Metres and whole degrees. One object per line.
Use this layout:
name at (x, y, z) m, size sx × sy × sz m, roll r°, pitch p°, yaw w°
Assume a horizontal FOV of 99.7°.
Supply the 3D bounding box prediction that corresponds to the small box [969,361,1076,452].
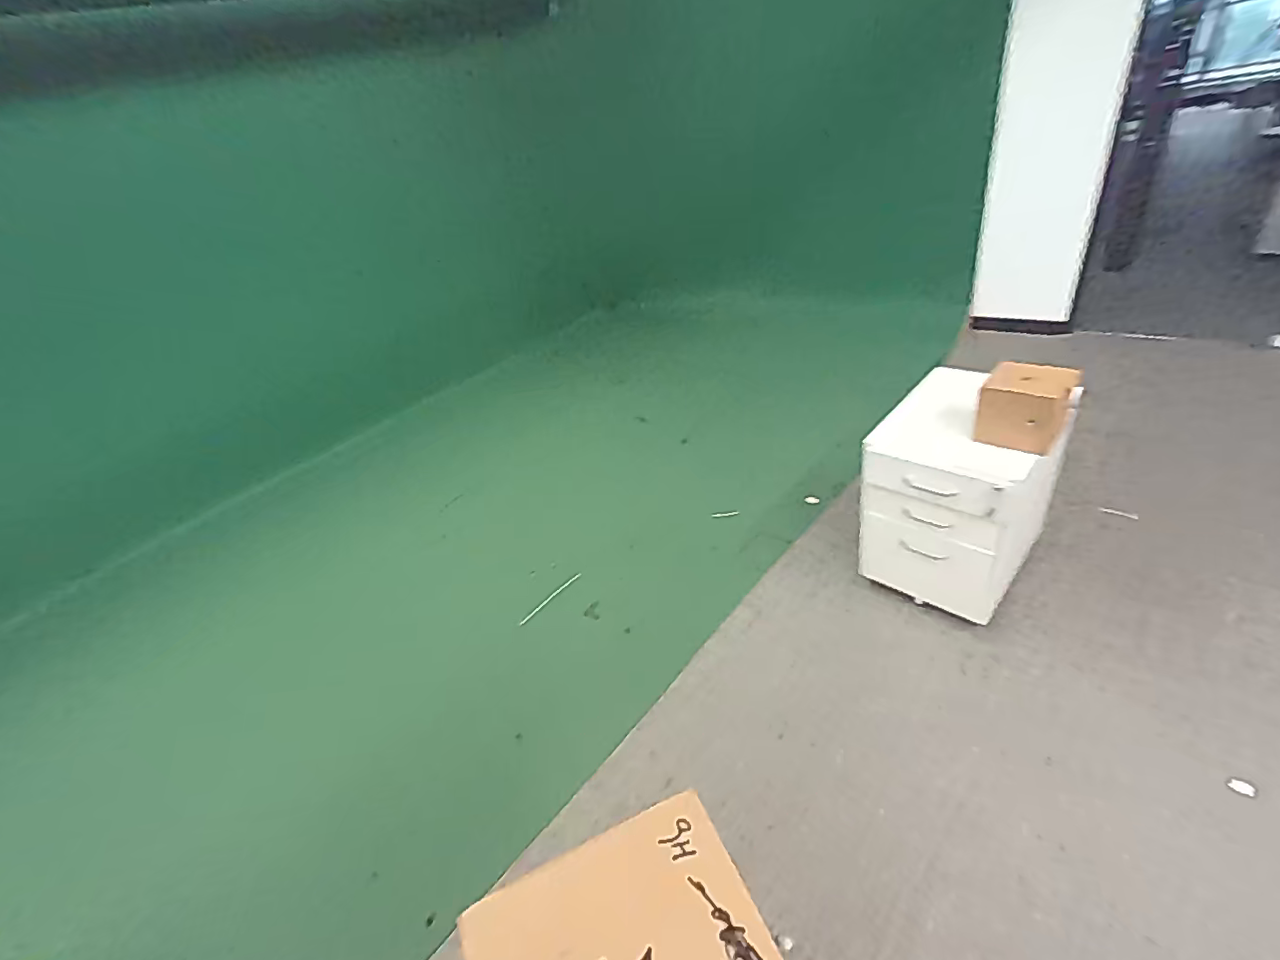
small box at (0.989, -0.191, 1.408) m, size 0.168 × 0.176 × 0.179 m, roll -36°, pitch 38°, yaw -30°
